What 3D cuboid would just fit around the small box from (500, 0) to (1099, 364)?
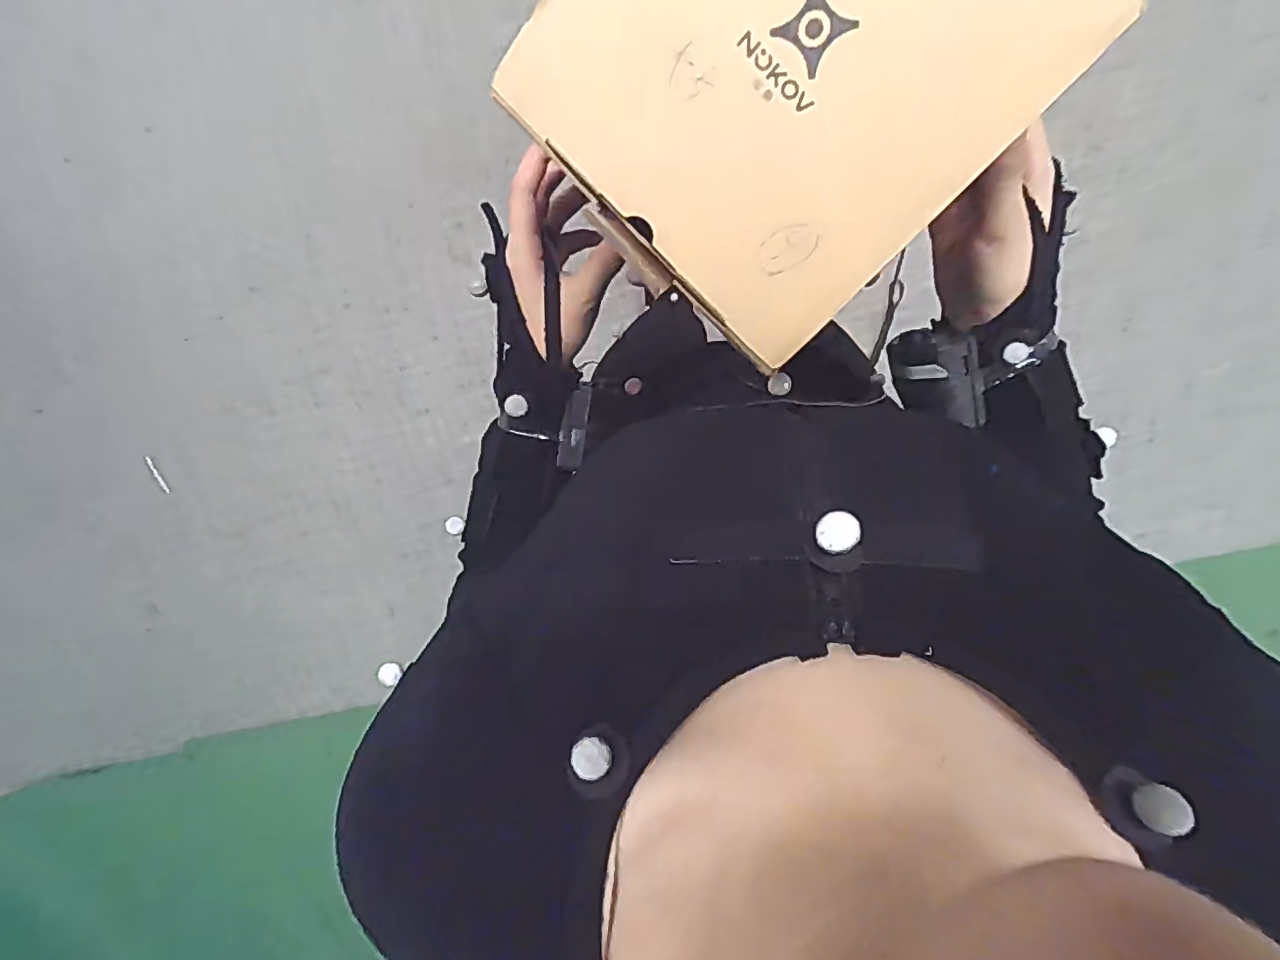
[{"bbox_3d":[0.064,-0.186,0.290,0.168,0.176,0.179,43,107,-7],"label":"small box"}]
